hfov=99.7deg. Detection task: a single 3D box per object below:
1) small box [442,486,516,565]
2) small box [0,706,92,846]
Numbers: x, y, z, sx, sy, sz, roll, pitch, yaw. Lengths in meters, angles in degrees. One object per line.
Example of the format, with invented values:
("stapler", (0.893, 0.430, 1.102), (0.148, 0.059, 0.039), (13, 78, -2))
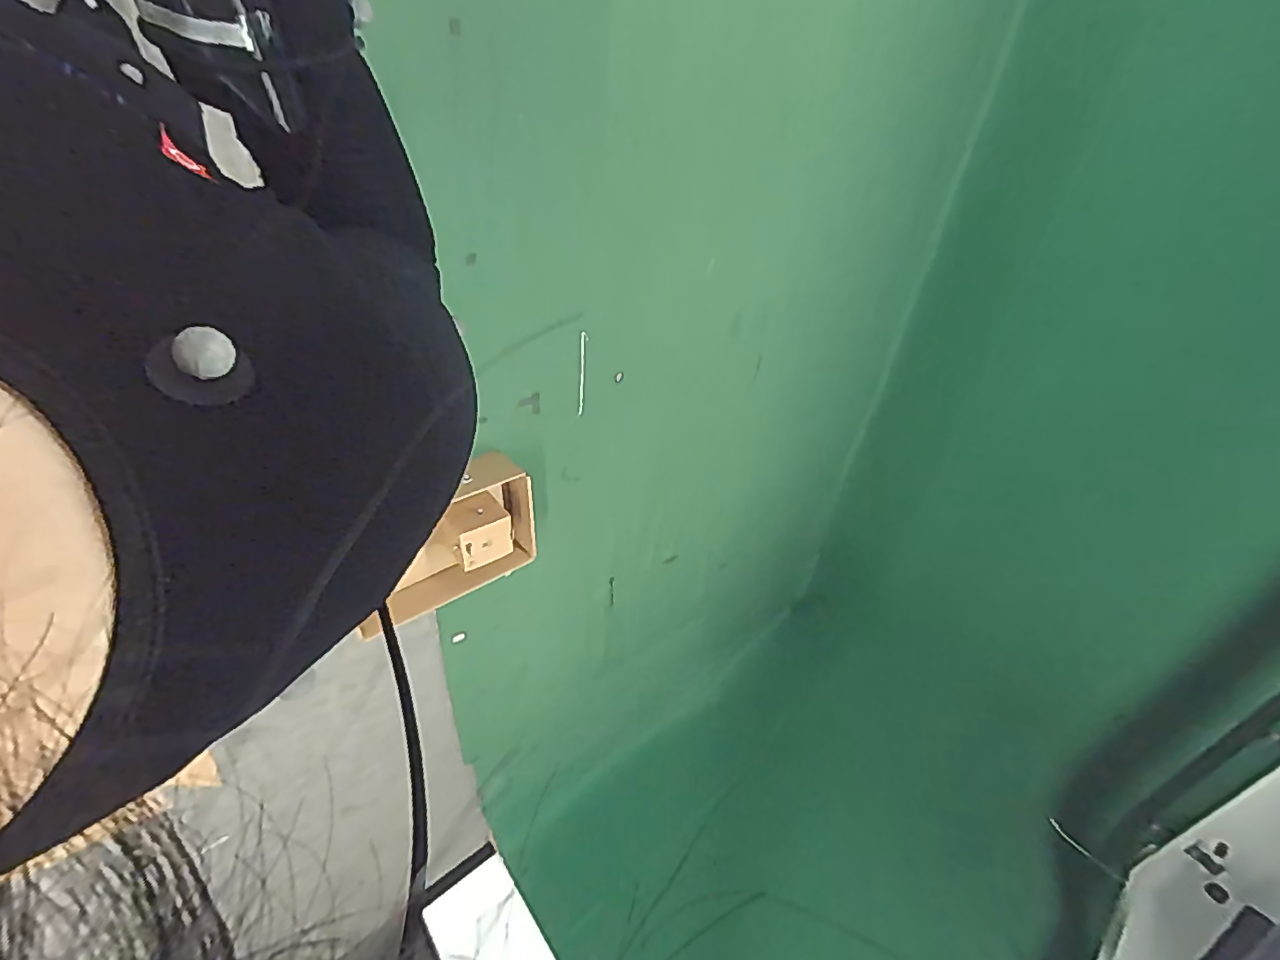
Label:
("small box", (-0.534, 0.144, 1.796), (0.179, 0.176, 0.168), (-23, 135, -33))
("small box", (-1.312, 0.620, 1.142), (0.168, 0.176, 0.179), (-26, 136, -35))
